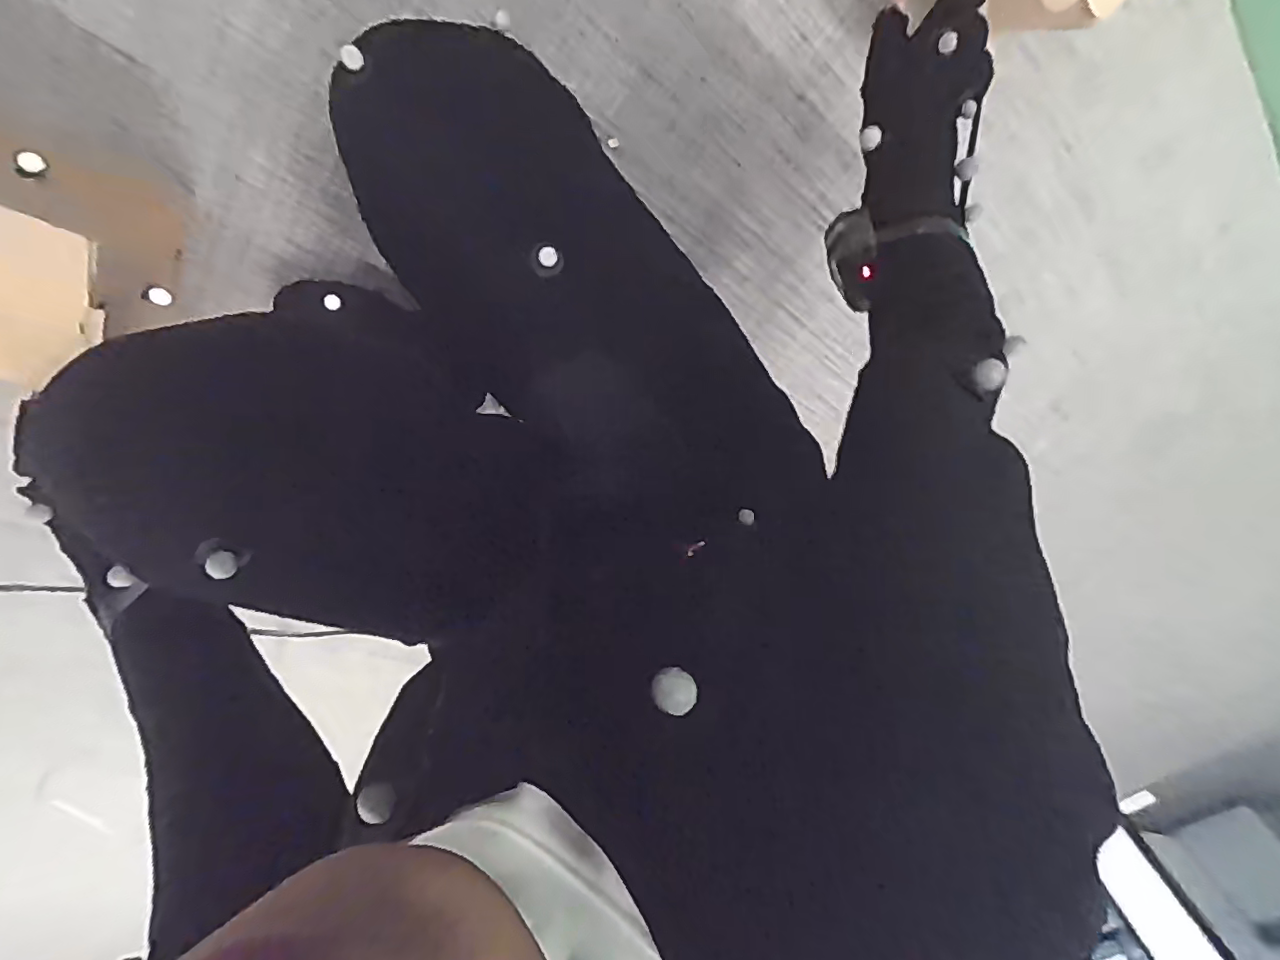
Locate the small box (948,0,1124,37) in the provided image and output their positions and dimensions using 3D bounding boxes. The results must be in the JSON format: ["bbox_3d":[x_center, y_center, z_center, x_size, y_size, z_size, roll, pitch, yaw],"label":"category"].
[{"bbox_3d":[0.337,-0.494,0.421,0.168,0.176,0.179,27,119,-30],"label":"small box"}]
